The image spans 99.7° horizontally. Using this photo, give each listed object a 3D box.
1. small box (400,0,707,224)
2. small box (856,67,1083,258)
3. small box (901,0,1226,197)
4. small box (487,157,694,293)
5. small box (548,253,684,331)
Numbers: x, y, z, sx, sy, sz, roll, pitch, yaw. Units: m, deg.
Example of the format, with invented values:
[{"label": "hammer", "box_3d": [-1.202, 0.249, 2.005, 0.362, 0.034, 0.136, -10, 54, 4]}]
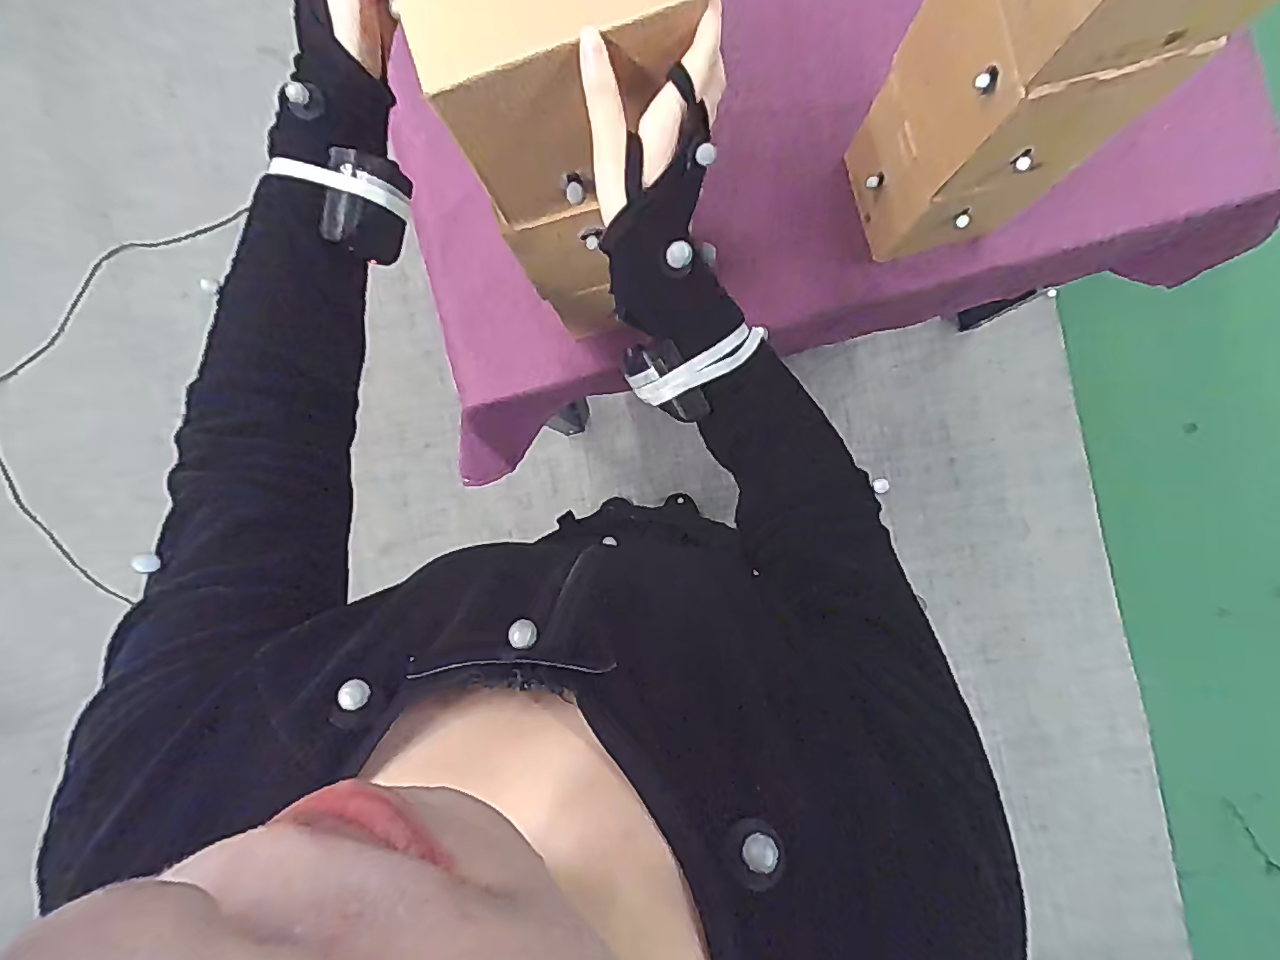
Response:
[{"label": "small box", "box_3d": [-0.061, -0.319, 0.379, 0.168, 0.176, 0.179, -17, 89, 3]}, {"label": "small box", "box_3d": [0.394, -0.408, 0.686, 0.179, 0.176, 0.168, -15, 89, 3]}, {"label": "small box", "box_3d": [0.380, -0.416, 0.523, 0.168, 0.176, 0.179, -14, 89, 2]}, {"label": "small box", "box_3d": [-0.051, -0.309, 0.542, 0.179, 0.176, 0.168, -14, 89, 2]}, {"label": "small box", "box_3d": [-0.042, -0.309, 0.706, 0.168, 0.176, 0.179, -14, 88, 2]}]
